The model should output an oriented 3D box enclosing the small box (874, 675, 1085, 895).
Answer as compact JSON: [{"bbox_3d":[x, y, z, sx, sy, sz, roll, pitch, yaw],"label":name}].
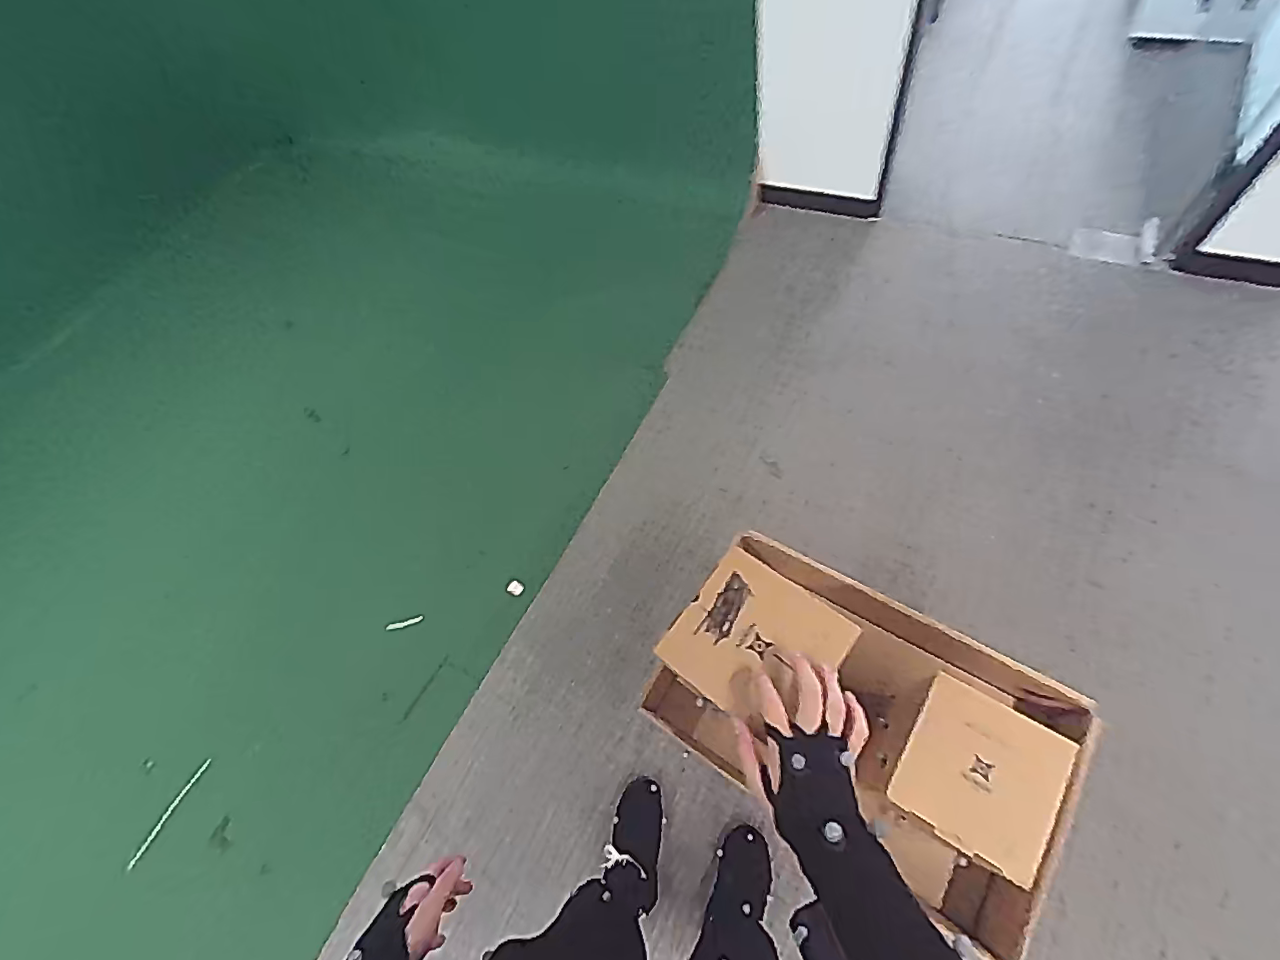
[{"bbox_3d":[0.429,0.389,0.716,0.168,0.176,0.179,28,72,23],"label":"small box"}]

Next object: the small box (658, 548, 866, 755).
[{"bbox_3d":[0.149,0.220,0.679,0.179,0.176,0.168,34,75,25],"label":"small box"}]
